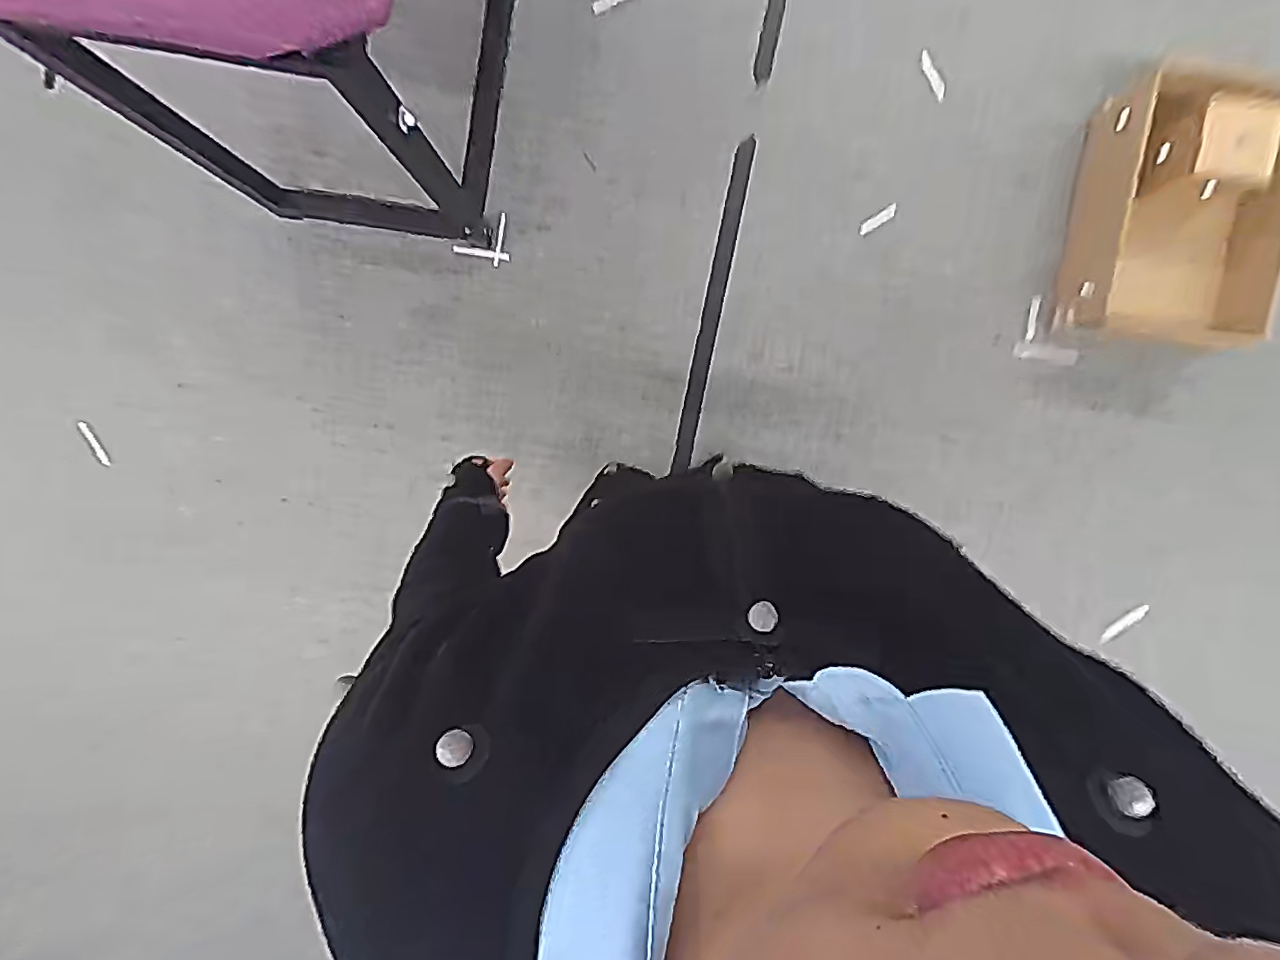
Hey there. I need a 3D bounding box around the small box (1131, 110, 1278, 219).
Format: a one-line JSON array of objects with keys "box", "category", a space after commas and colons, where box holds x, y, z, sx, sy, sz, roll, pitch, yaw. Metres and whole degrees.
[{"box": [1.371, -0.764, 1.327, 0.179, 0.176, 0.168, 8, 94, 0], "category": "small box"}]
